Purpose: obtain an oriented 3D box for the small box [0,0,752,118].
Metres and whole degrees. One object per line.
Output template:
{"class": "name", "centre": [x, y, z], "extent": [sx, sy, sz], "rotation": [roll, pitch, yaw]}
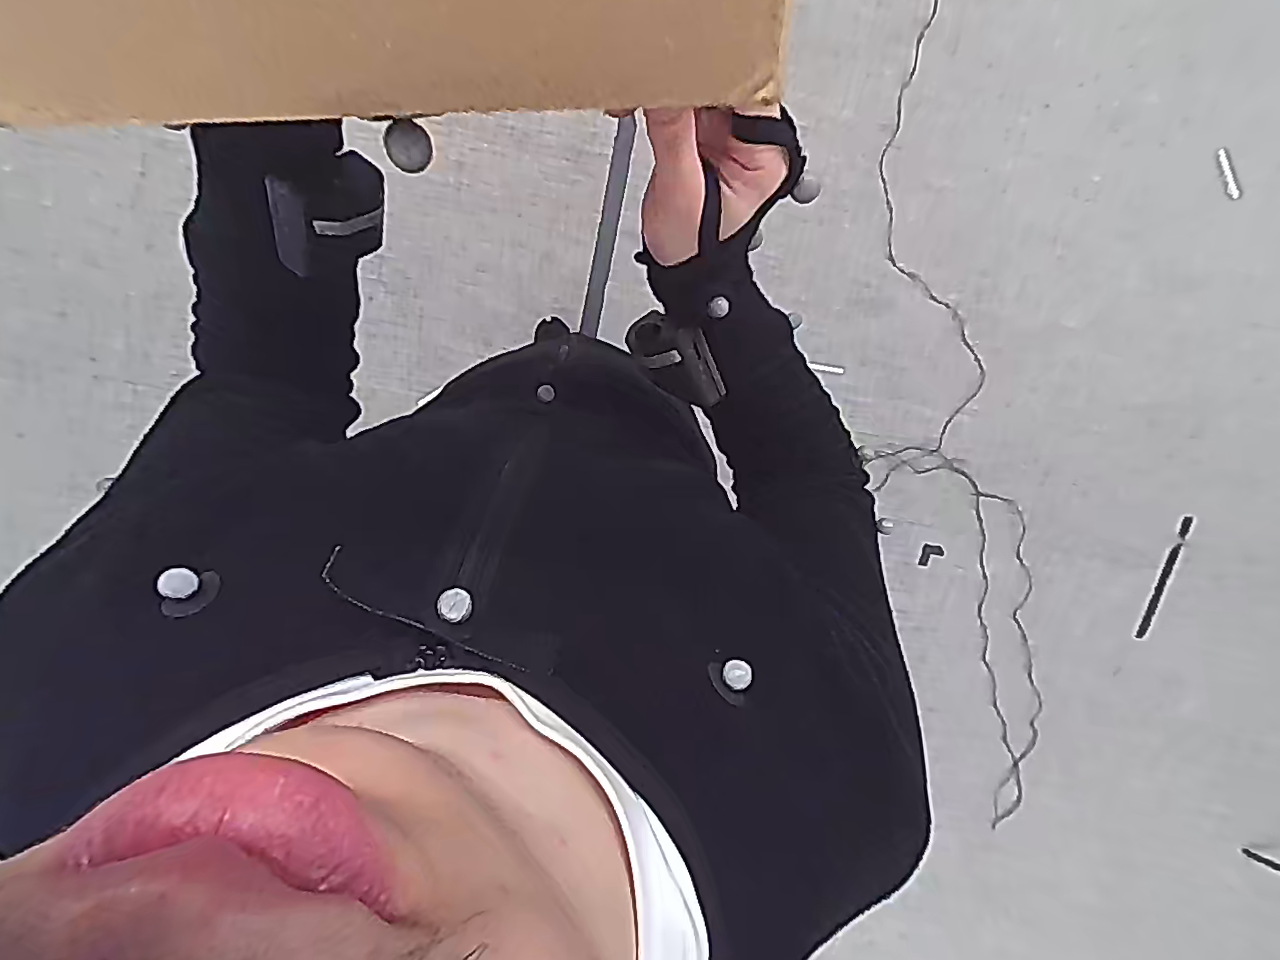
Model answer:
{"class": "small box", "centre": [-0.064, -0.196, 0.137], "extent": [0.179, 0.176, 0.168], "rotation": [-2, 128, 2]}
